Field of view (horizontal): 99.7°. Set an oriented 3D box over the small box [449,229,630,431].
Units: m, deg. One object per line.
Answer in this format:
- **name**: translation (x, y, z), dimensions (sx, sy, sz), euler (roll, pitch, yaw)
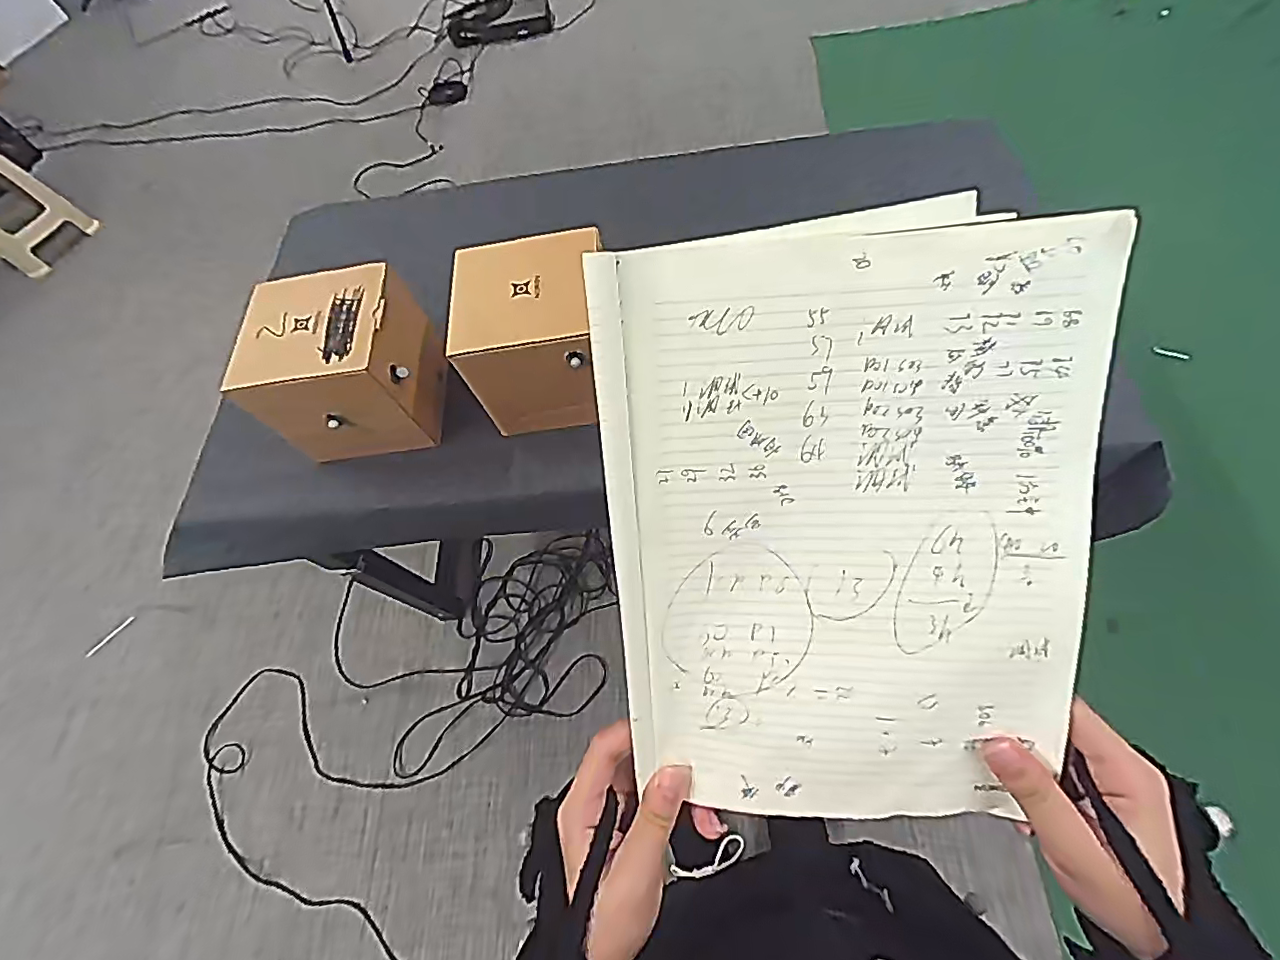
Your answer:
- **small box**: translation (-0.115, -0.178, 0.679), dimensions (0.179, 0.176, 0.168), euler (-8, 63, 4)
